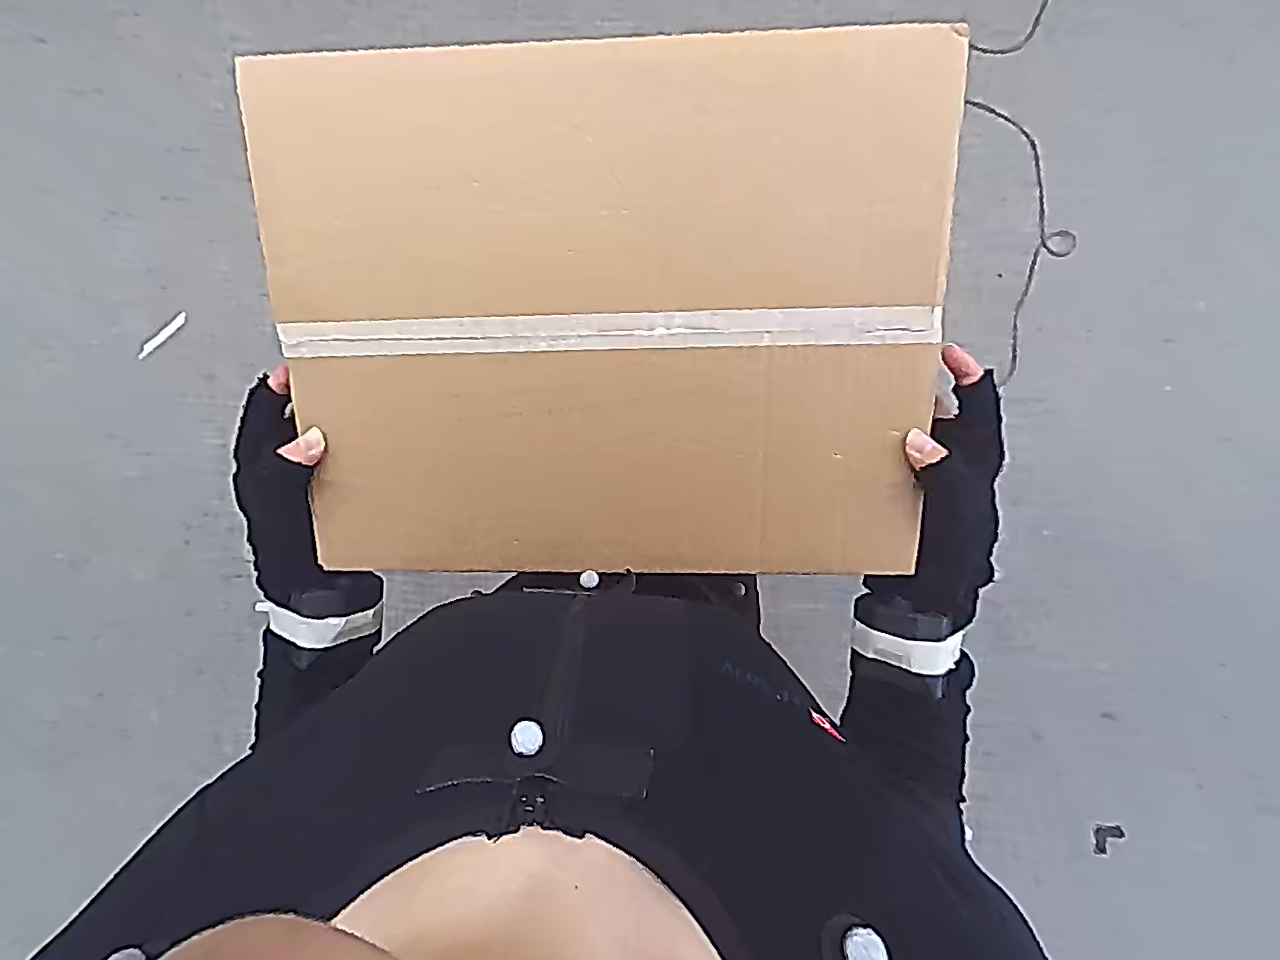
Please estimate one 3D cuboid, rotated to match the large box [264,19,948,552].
[{"bbox_3d":[-0.017,-0.135,0.487,0.408,0.320,0.320,0,104,3],"label":"large box"}]
